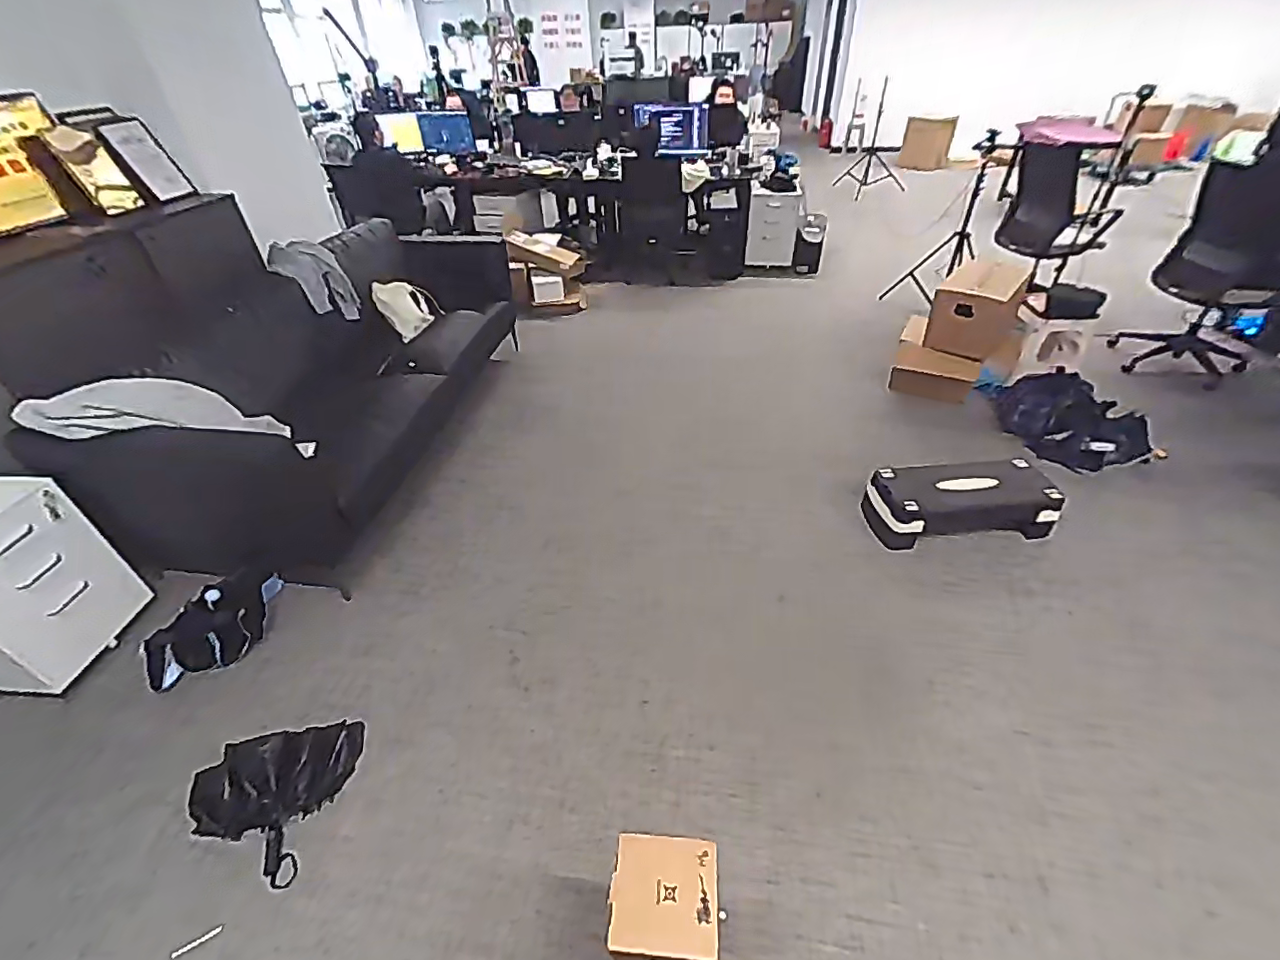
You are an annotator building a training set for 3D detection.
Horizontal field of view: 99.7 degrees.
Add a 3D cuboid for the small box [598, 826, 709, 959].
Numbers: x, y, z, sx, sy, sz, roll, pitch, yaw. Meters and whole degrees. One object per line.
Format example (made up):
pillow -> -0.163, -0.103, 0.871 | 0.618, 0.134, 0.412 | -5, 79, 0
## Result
small box -> 0.033, 0.741, 0.957 | 0.179, 0.176, 0.168 | 1, 39, 7
